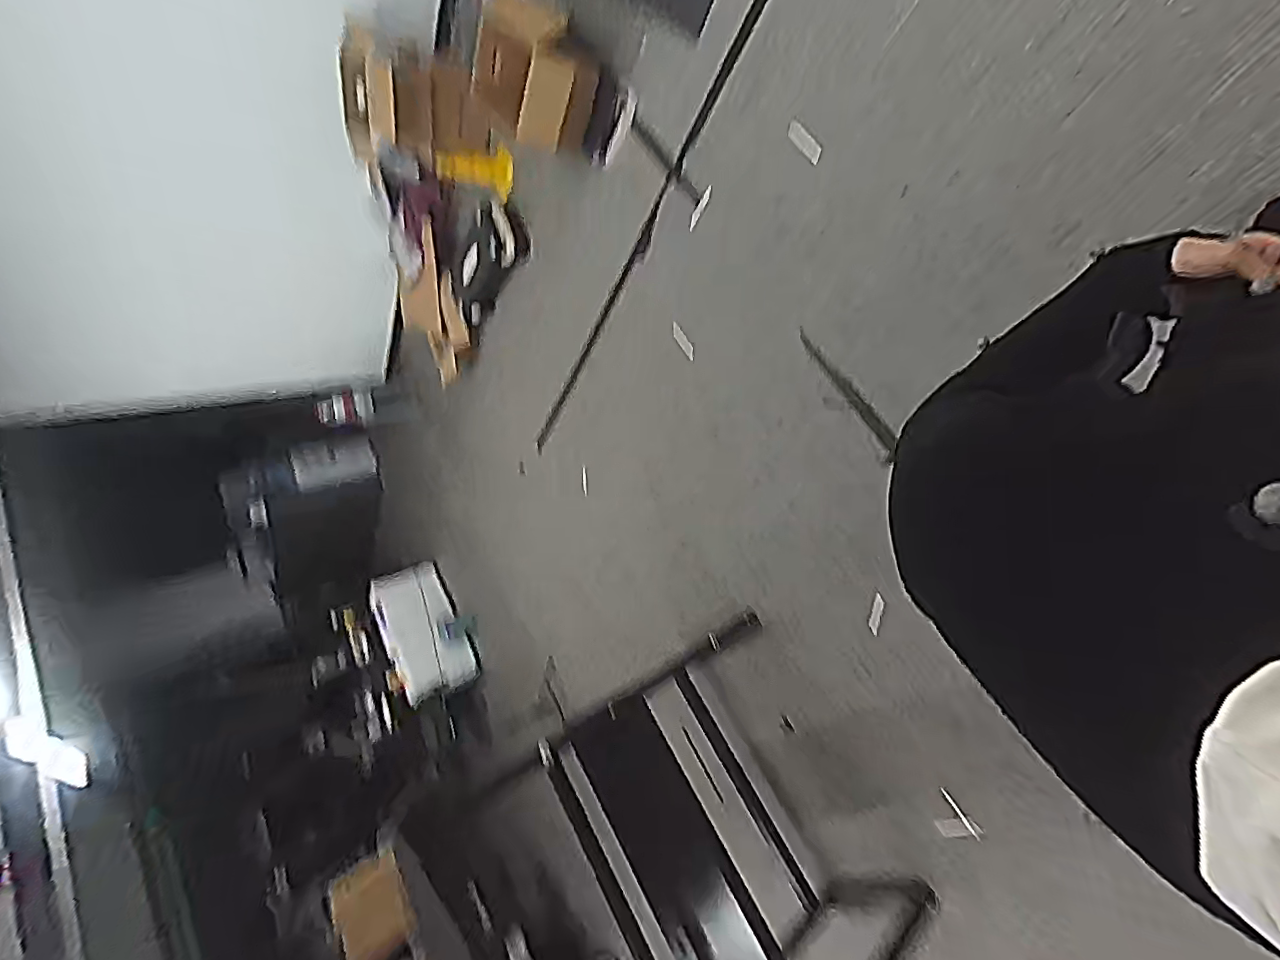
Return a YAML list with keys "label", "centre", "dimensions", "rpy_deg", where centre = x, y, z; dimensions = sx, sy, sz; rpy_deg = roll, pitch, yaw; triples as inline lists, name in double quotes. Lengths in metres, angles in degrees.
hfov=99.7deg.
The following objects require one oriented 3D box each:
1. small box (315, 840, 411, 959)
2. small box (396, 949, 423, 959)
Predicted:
- label: "small box"
  centre: [-0.690, 1.036, 1.350]
  dimensions: [0.168, 0.176, 0.179]
  rpy_deg: [60, 143, 15]
- label: "small box"
  centre: [-0.663, 1.428, 1.469]
  dimensions: [0.168, 0.176, 0.179]
  rpy_deg: [58, 140, 17]
